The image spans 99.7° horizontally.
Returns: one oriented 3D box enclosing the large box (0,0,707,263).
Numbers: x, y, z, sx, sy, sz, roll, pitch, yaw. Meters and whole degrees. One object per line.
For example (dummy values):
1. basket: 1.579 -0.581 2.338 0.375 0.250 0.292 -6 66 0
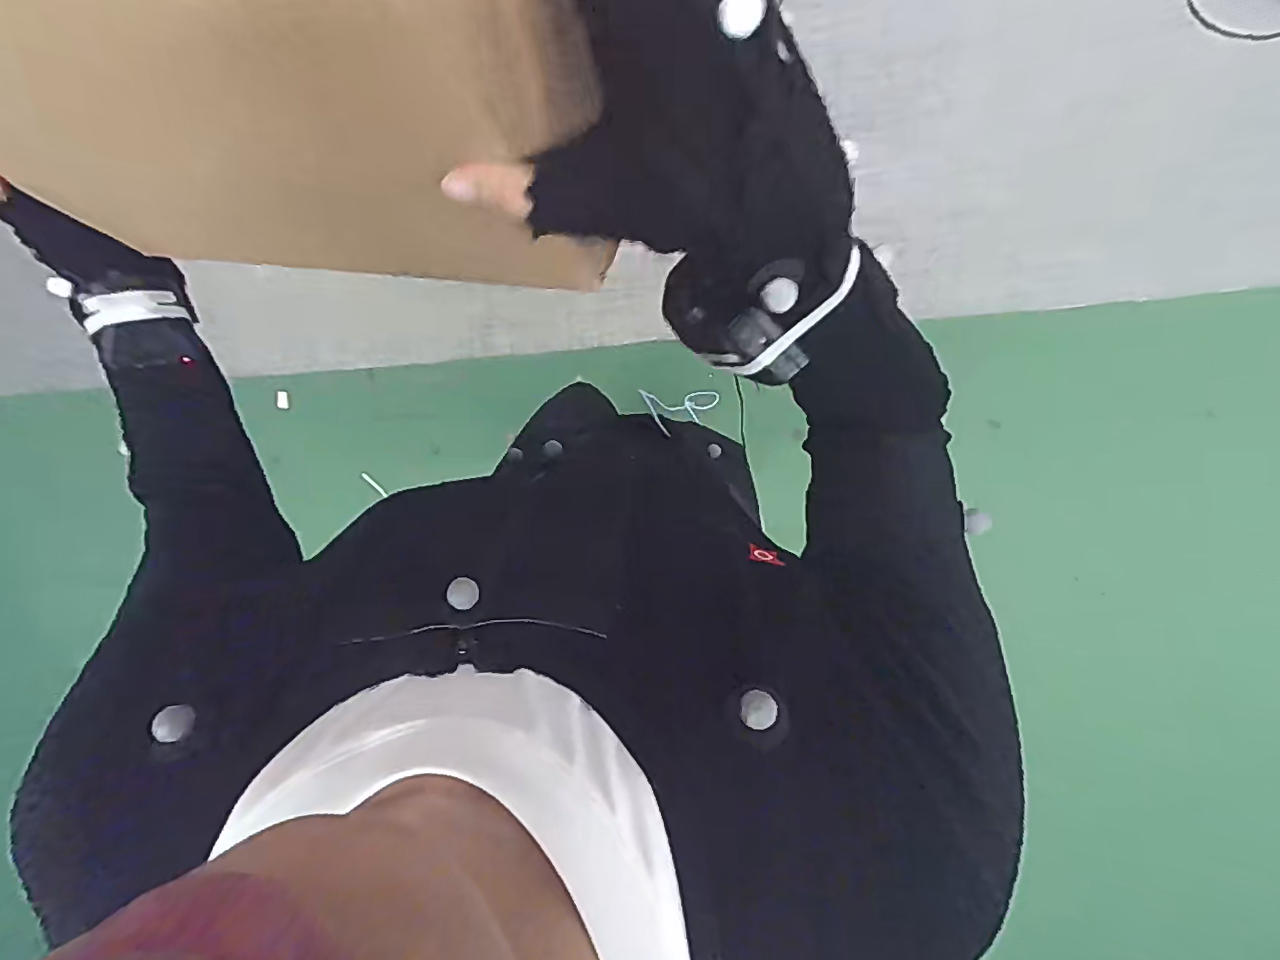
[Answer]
1. large box: -0.195 -0.321 0.226 0.408 0.320 0.320 13 82 22
